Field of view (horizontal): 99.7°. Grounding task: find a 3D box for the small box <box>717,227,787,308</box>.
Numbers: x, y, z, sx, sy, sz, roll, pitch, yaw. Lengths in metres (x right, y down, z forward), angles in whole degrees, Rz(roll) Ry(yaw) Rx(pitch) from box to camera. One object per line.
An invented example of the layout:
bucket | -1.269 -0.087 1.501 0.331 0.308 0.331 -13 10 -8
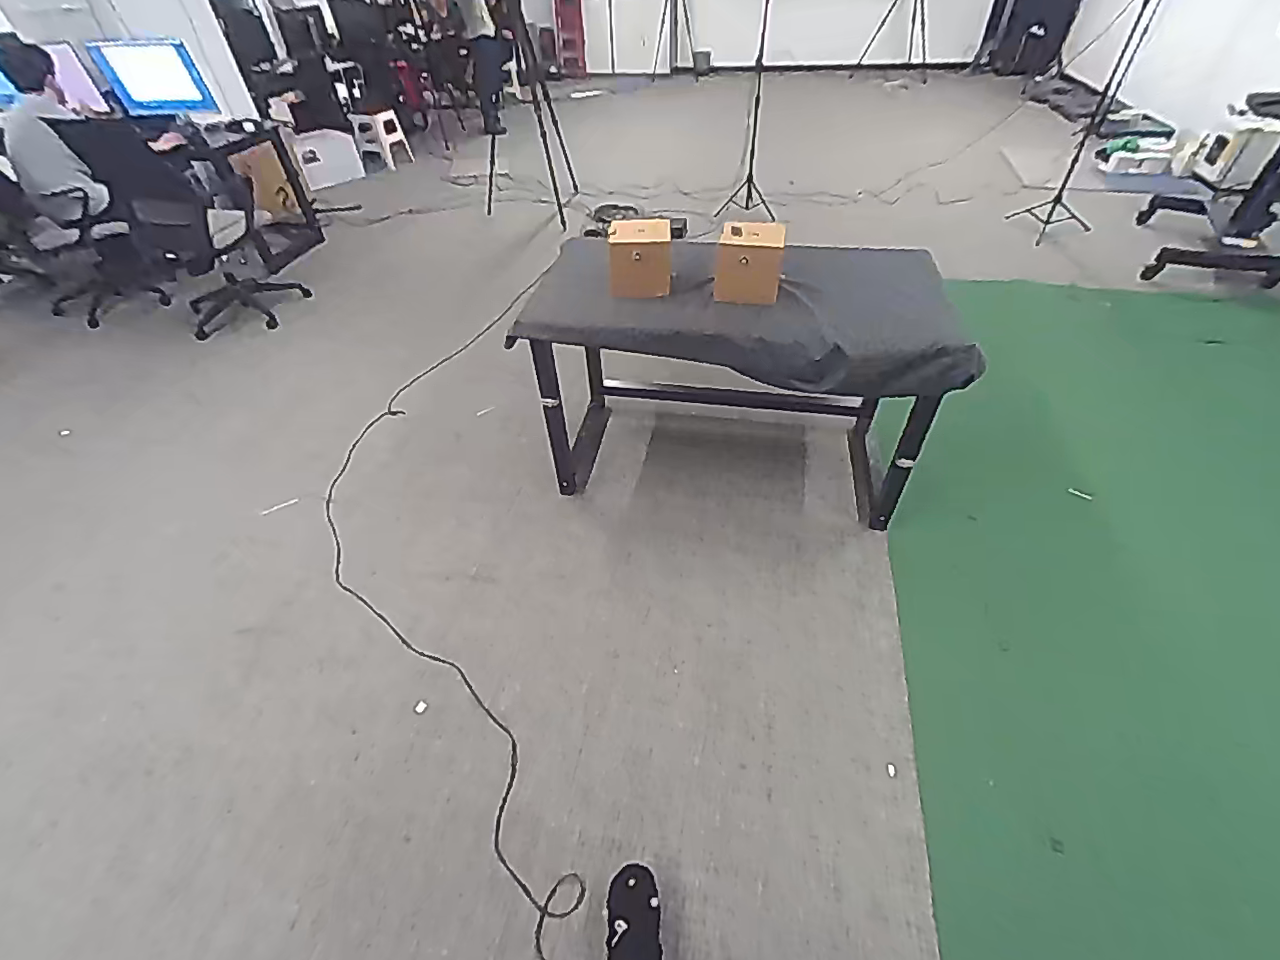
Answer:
small box | 0.320 -0.608 1.552 0.179 0.176 0.168 8 45 10

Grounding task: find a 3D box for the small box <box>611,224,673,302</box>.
small box | 0.010 -0.643 1.606 0.179 0.176 0.168 1 46 2
